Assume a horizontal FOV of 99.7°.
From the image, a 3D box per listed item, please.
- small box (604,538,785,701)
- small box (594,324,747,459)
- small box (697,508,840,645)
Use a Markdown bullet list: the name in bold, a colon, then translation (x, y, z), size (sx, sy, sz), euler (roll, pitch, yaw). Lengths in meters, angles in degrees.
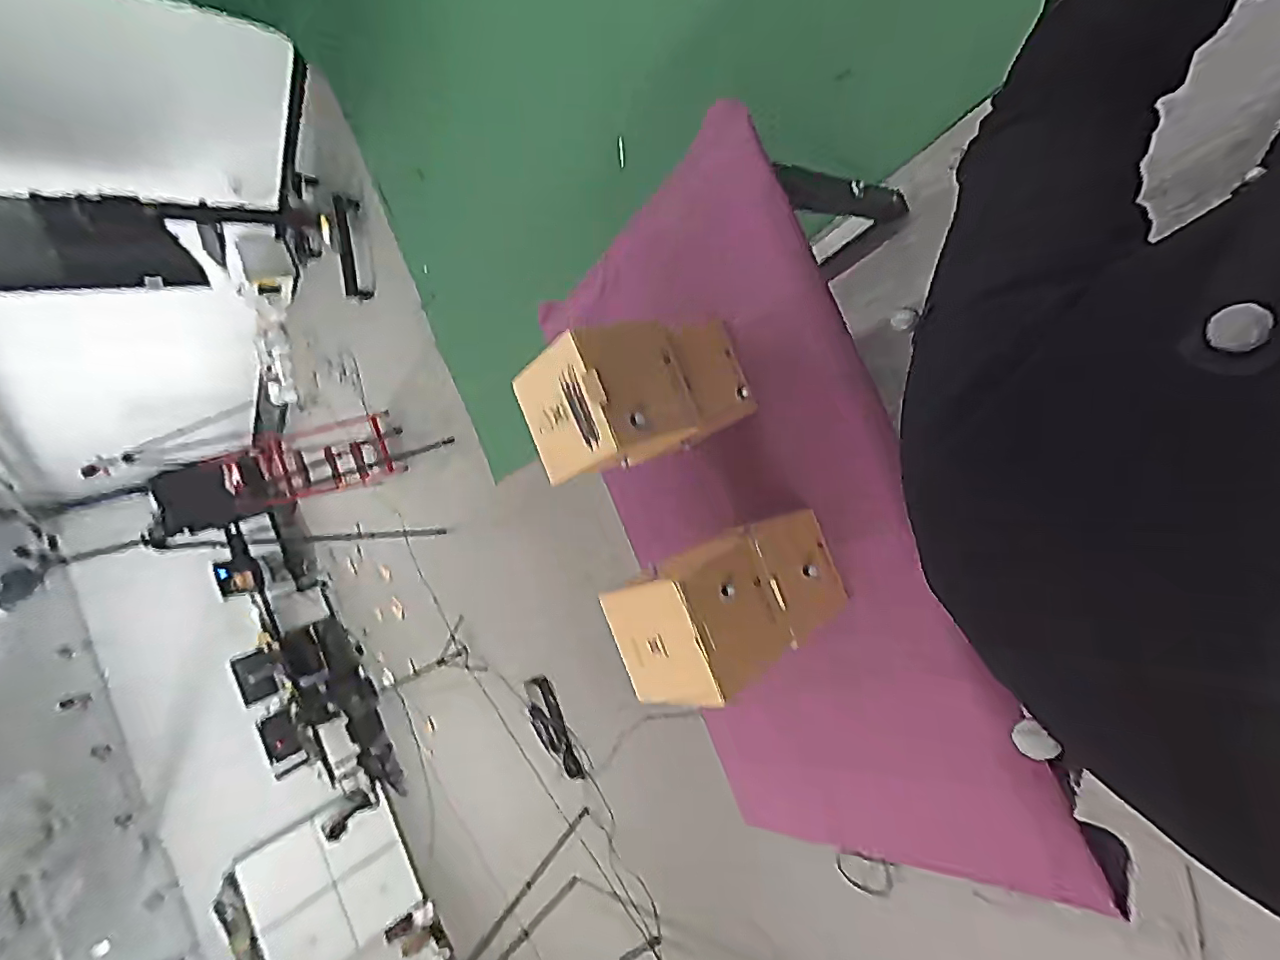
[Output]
- **small box**: translation (0.085, 0.196, 0.779), size (0.179, 0.176, 0.168), euler (-24, 87, 49)
- **small box**: translation (0.058, -0.151, 0.910), size (0.179, 0.176, 0.168), euler (-22, 88, 48)
- **small box**: translation (0.203, 0.158, 0.885), size (0.179, 0.176, 0.168), euler (-23, 88, 48)
